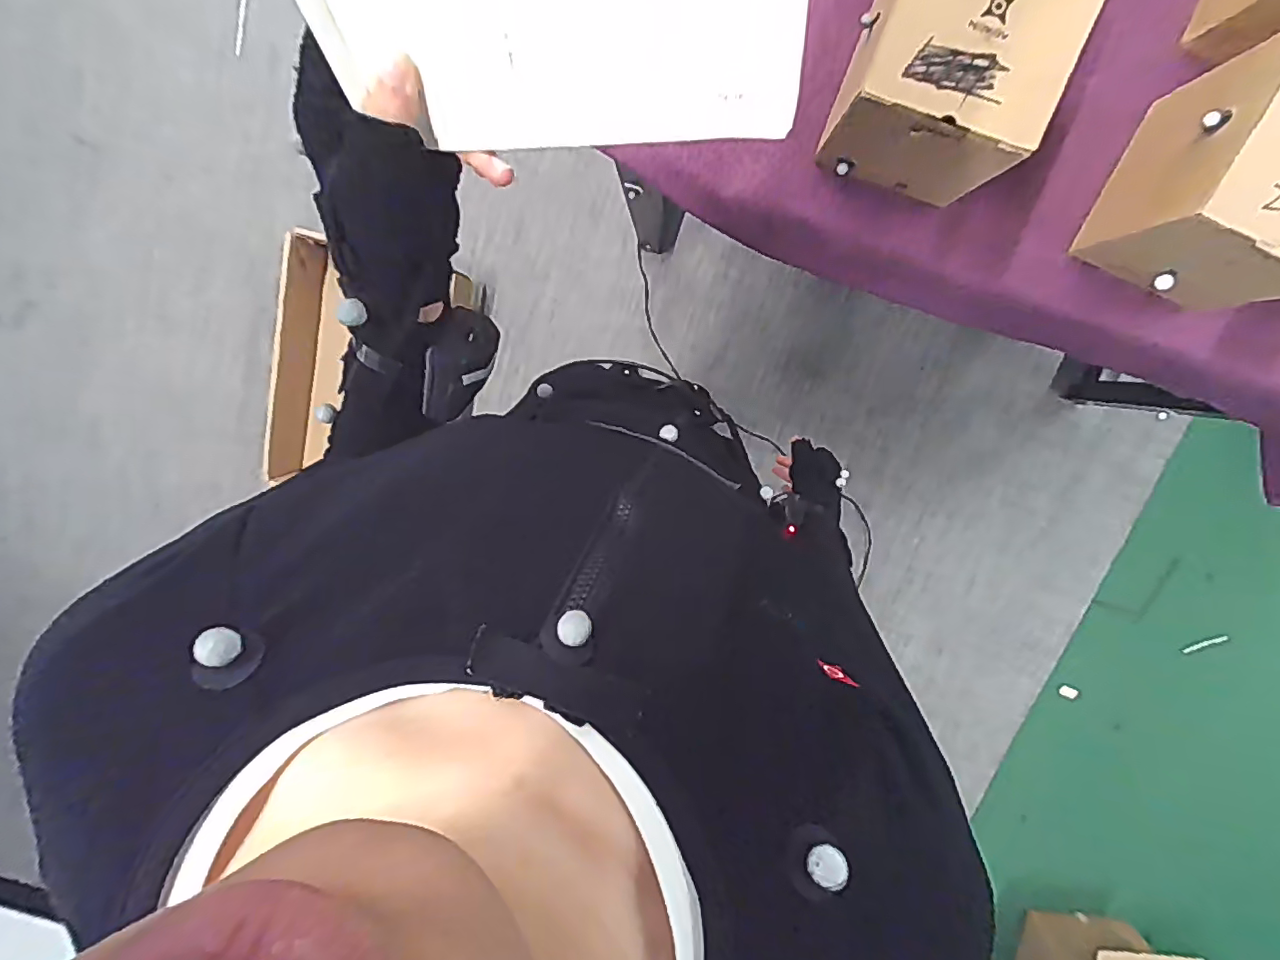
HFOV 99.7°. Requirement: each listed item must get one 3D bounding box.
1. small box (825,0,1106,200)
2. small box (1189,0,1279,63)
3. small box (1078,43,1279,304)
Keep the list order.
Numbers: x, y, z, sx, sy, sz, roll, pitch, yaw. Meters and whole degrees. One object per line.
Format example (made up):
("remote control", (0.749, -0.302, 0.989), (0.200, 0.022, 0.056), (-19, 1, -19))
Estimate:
("small box", (0.304, -0.410, 0.538), (0.168, 0.176, 0.179), (21, 103, -1))
("small box", (0.684, -0.508, 0.497), (0.168, 0.176, 0.179), (18, 103, -1))
("small box", (0.607, -0.298, 0.545), (0.168, 0.176, 0.179), (24, 103, -2))
